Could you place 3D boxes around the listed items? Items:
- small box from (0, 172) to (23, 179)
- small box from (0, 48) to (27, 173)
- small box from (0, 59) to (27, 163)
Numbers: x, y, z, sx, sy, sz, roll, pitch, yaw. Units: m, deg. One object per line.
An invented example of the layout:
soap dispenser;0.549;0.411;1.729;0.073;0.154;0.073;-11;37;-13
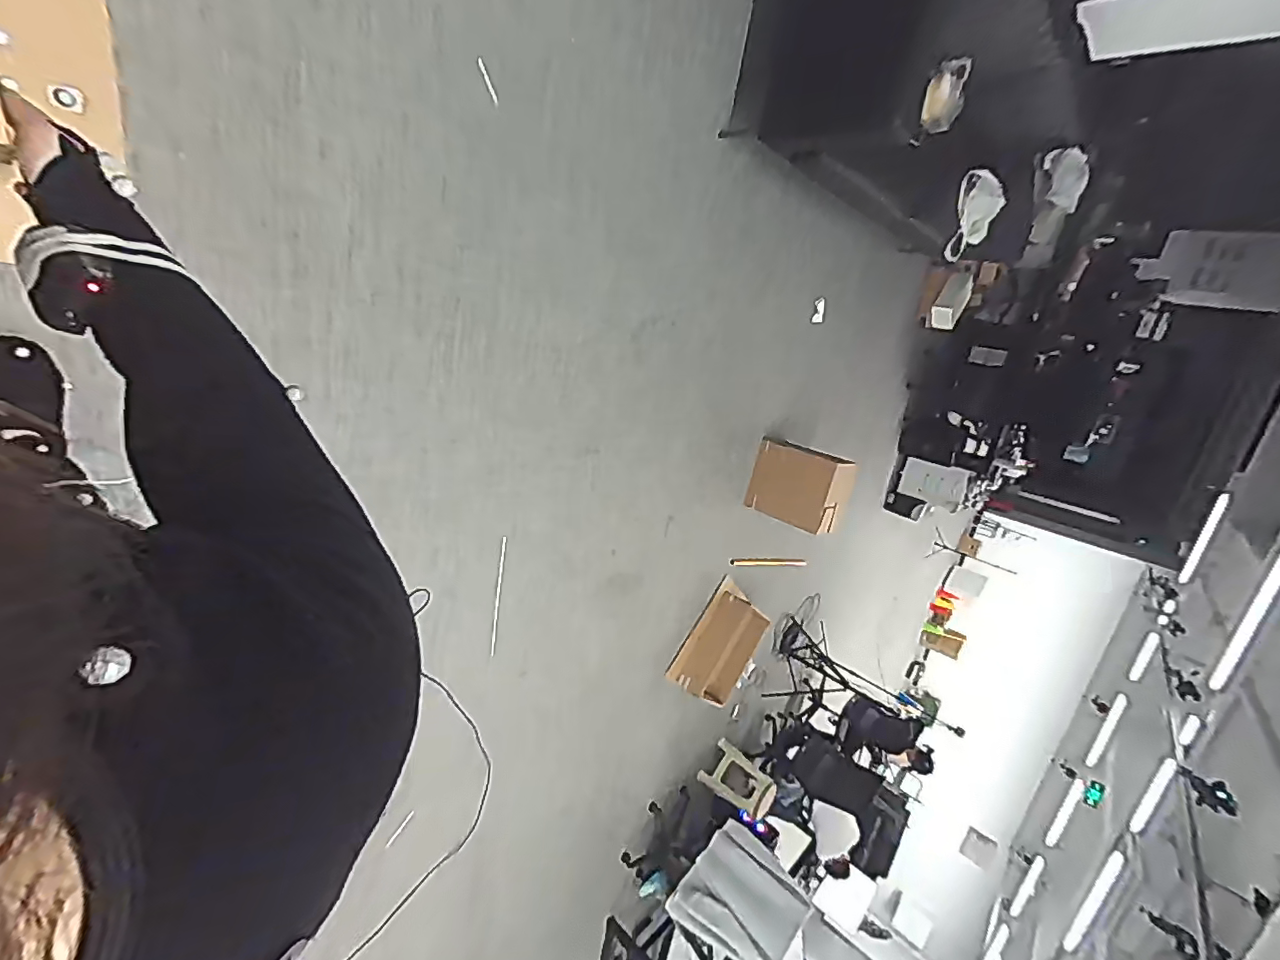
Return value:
small box;-0.785;-0.428;0.565;0.168;0.176;0.179;-13;119;-44
small box;-0.671;-0.371;0.459;0.179;0.176;0.168;-13;117;-43
small box;-0.552;-0.325;0.355;0.168;0.176;0.179;-17;121;-42
